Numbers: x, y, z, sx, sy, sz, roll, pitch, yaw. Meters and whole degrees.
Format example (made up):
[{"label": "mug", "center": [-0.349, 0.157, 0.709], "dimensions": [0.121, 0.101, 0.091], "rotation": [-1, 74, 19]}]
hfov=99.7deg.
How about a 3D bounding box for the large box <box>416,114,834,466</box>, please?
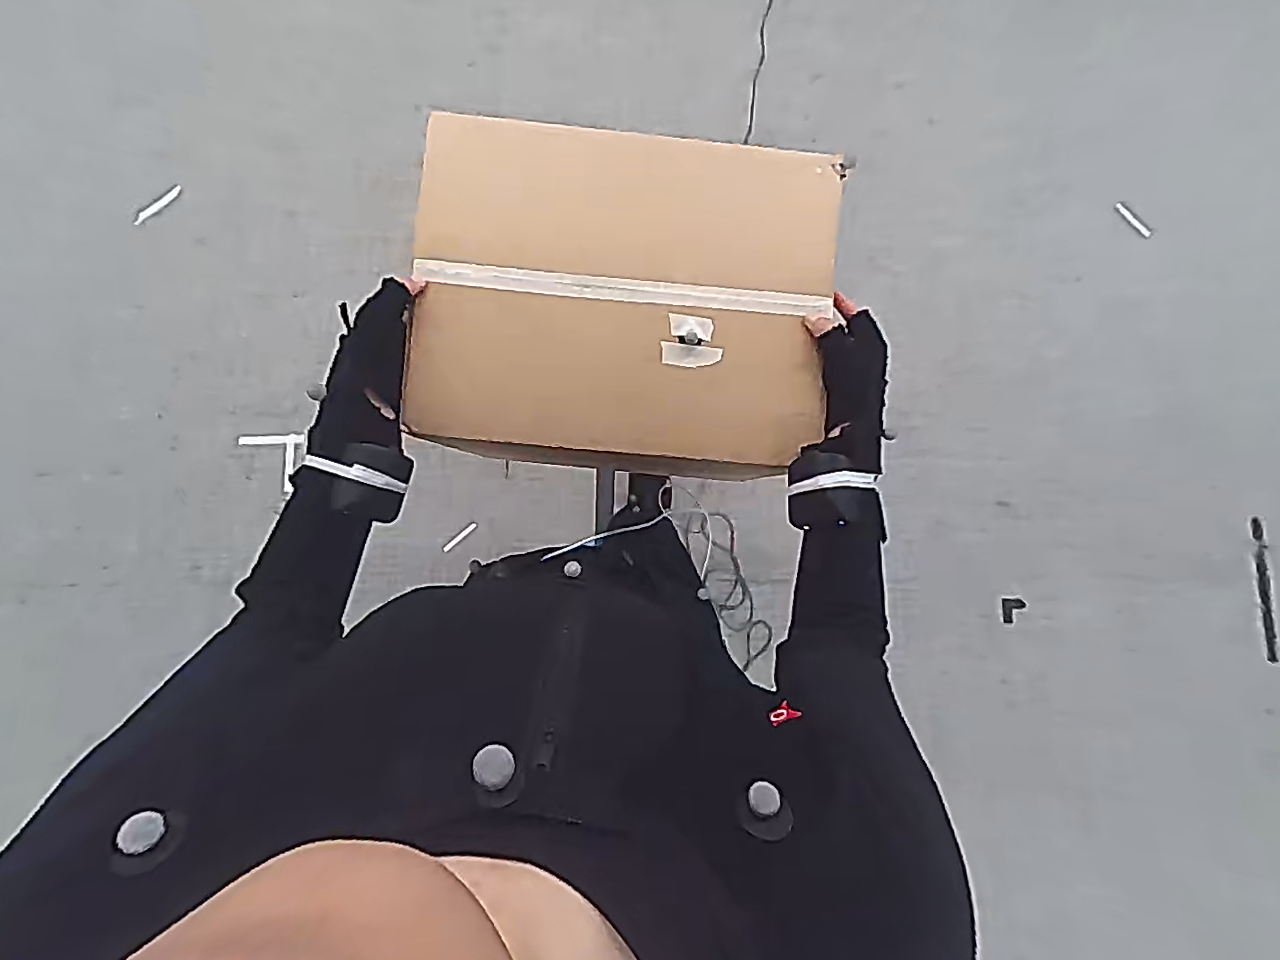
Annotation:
[{"label": "large box", "center": [-0.019, -0.192, 0.686], "dimensions": [0.408, 0.320, 0.320], "rotation": [5, 89, -3]}]
